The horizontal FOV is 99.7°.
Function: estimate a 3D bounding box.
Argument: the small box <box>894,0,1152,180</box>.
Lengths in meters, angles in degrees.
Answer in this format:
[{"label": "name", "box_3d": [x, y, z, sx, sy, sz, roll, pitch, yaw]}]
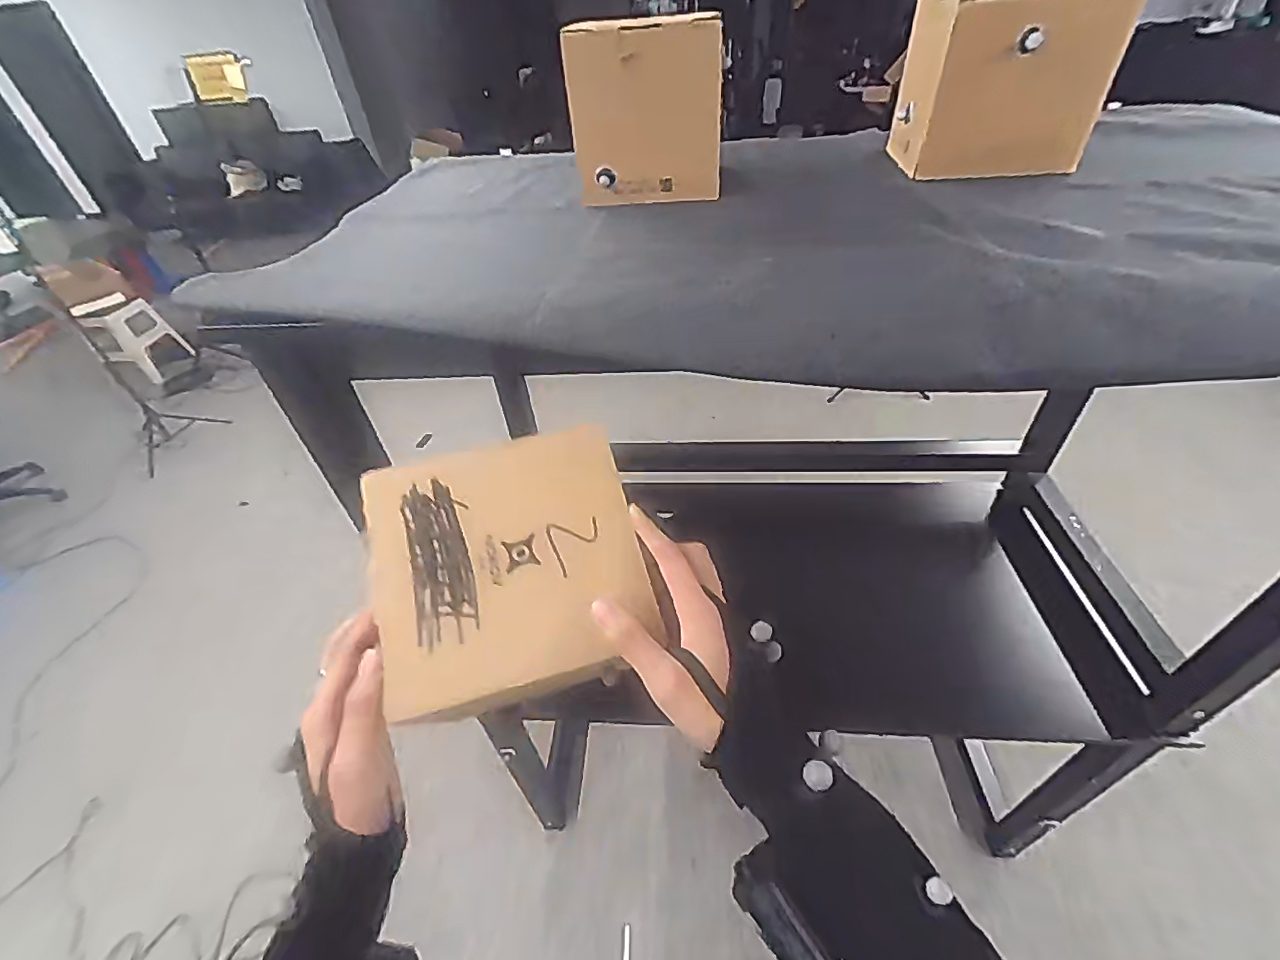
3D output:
[{"label": "small box", "box_3d": [0.420, -0.465, 0.631, 0.179, 0.176, 0.168, 1, 42, 9]}]

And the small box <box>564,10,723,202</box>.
[{"label": "small box", "box_3d": [0.017, -0.446, 0.654, 0.168, 0.176, 0.179, 0, 41, 6]}]
